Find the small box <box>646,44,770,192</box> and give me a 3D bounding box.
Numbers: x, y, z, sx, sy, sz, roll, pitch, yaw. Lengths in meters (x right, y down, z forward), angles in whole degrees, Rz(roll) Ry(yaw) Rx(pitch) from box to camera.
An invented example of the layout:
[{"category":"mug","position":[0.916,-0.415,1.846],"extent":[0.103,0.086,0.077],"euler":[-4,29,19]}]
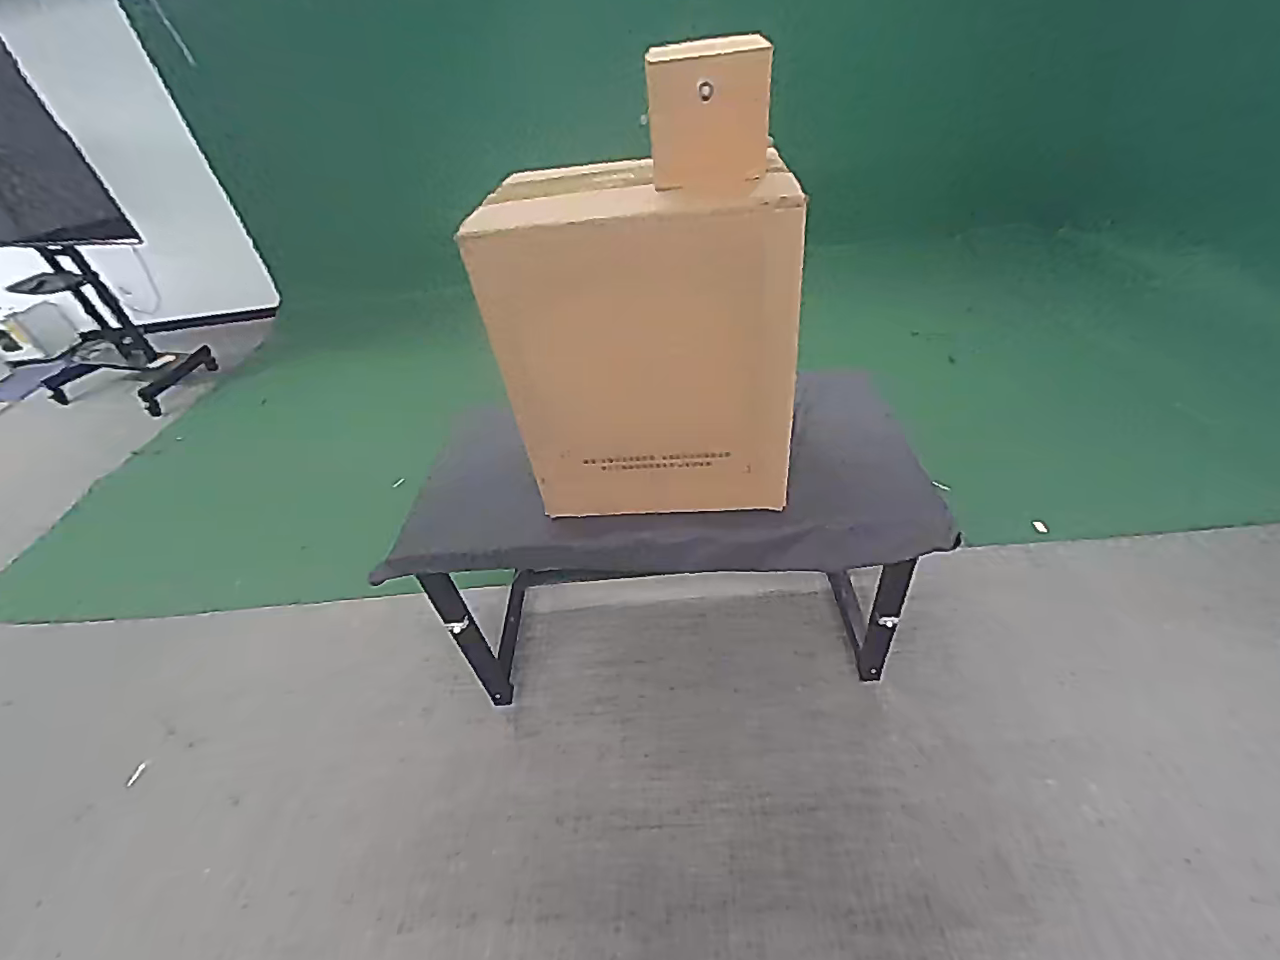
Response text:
[{"category":"small box","position":[0.106,-0.575,0.864],"extent":[0.179,0.176,0.168],"euler":[-2,44,5]}]
